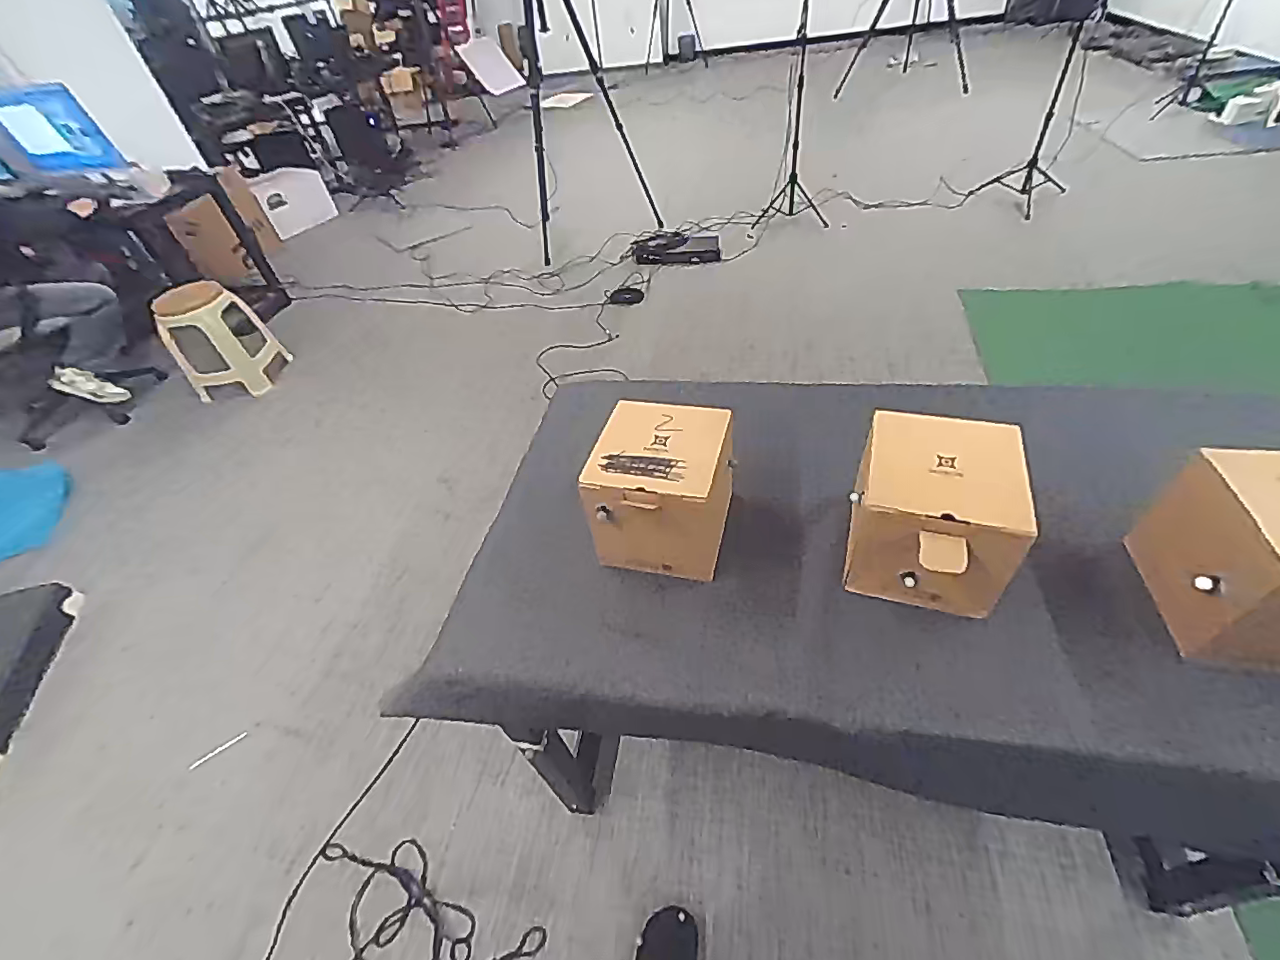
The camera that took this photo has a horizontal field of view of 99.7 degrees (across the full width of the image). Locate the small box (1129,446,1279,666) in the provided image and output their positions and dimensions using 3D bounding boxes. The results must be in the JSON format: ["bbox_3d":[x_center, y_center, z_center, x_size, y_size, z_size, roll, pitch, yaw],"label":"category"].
[{"bbox_3d":[0.681,0.086,0.570,0.168,0.176,0.179,4,45,12],"label":"small box"}]

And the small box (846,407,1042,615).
[{"bbox_3d":[0.360,0.036,0.672,0.168,0.176,0.179,10,48,18],"label":"small box"}]
